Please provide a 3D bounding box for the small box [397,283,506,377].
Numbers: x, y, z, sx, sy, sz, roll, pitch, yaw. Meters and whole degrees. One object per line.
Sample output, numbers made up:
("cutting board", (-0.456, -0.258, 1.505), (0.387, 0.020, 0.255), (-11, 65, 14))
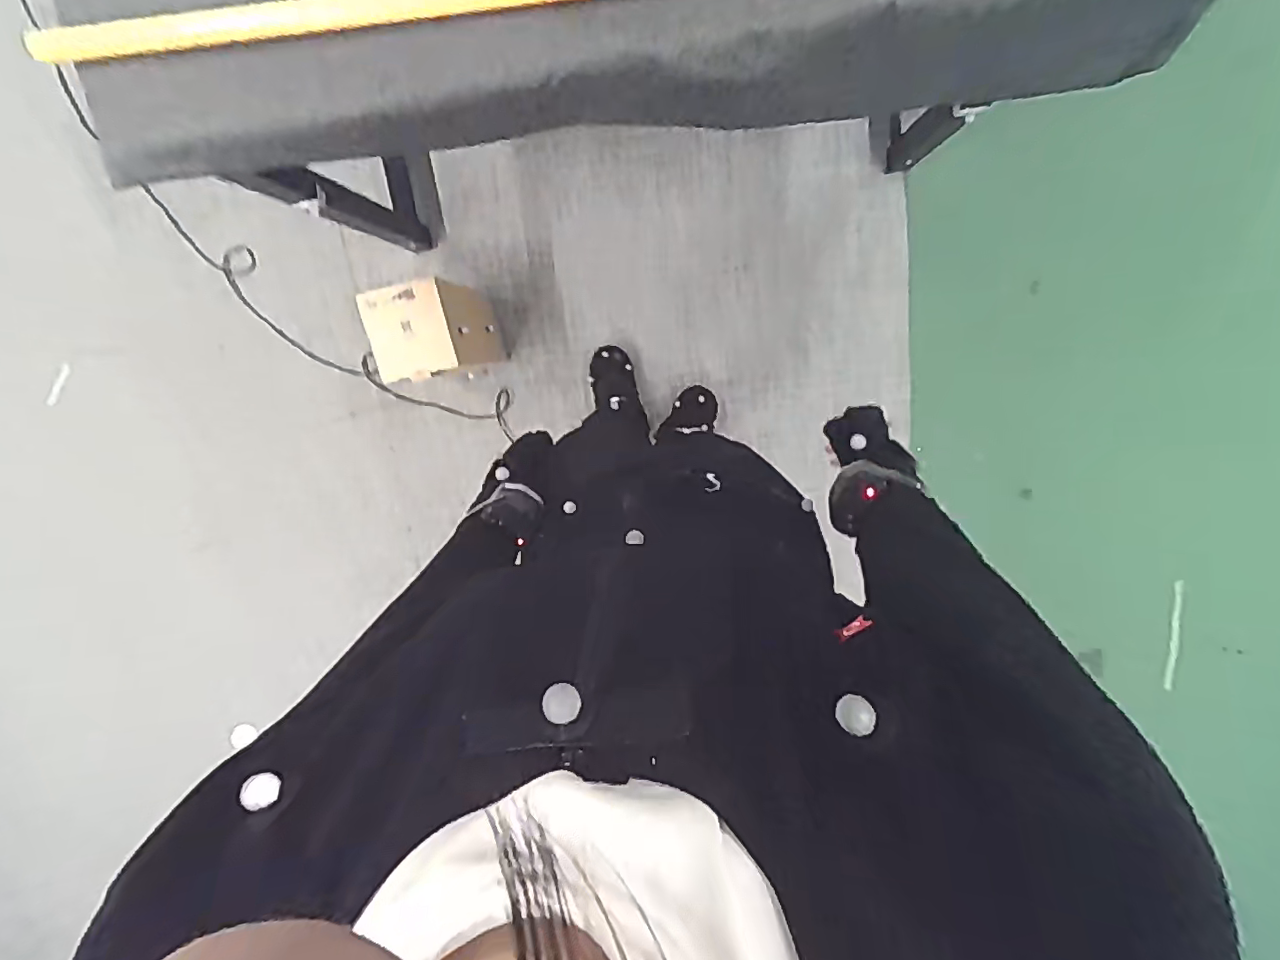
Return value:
("small box", (-0.440, -0.352, 1.289), (0.168, 0.176, 0.179), (-14, 103, 7))
